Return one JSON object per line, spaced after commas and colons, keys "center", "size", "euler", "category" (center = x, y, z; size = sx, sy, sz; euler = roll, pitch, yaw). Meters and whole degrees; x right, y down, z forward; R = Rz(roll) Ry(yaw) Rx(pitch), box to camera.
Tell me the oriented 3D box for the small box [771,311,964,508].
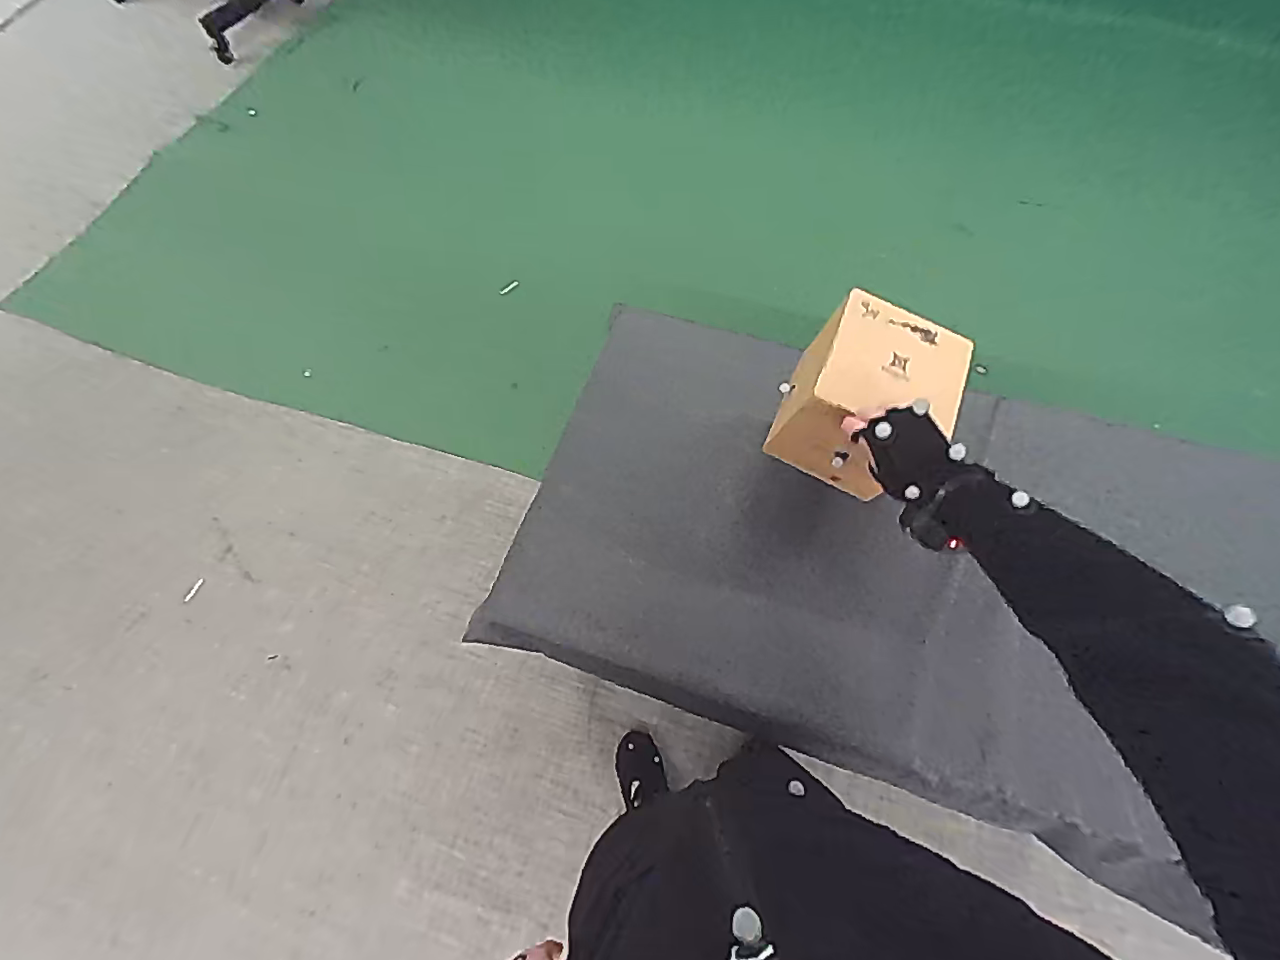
{"center": [0.294, -0.083, 0.729], "size": [0.168, 0.176, 0.179], "euler": [23, 69, 2], "category": "small box"}
